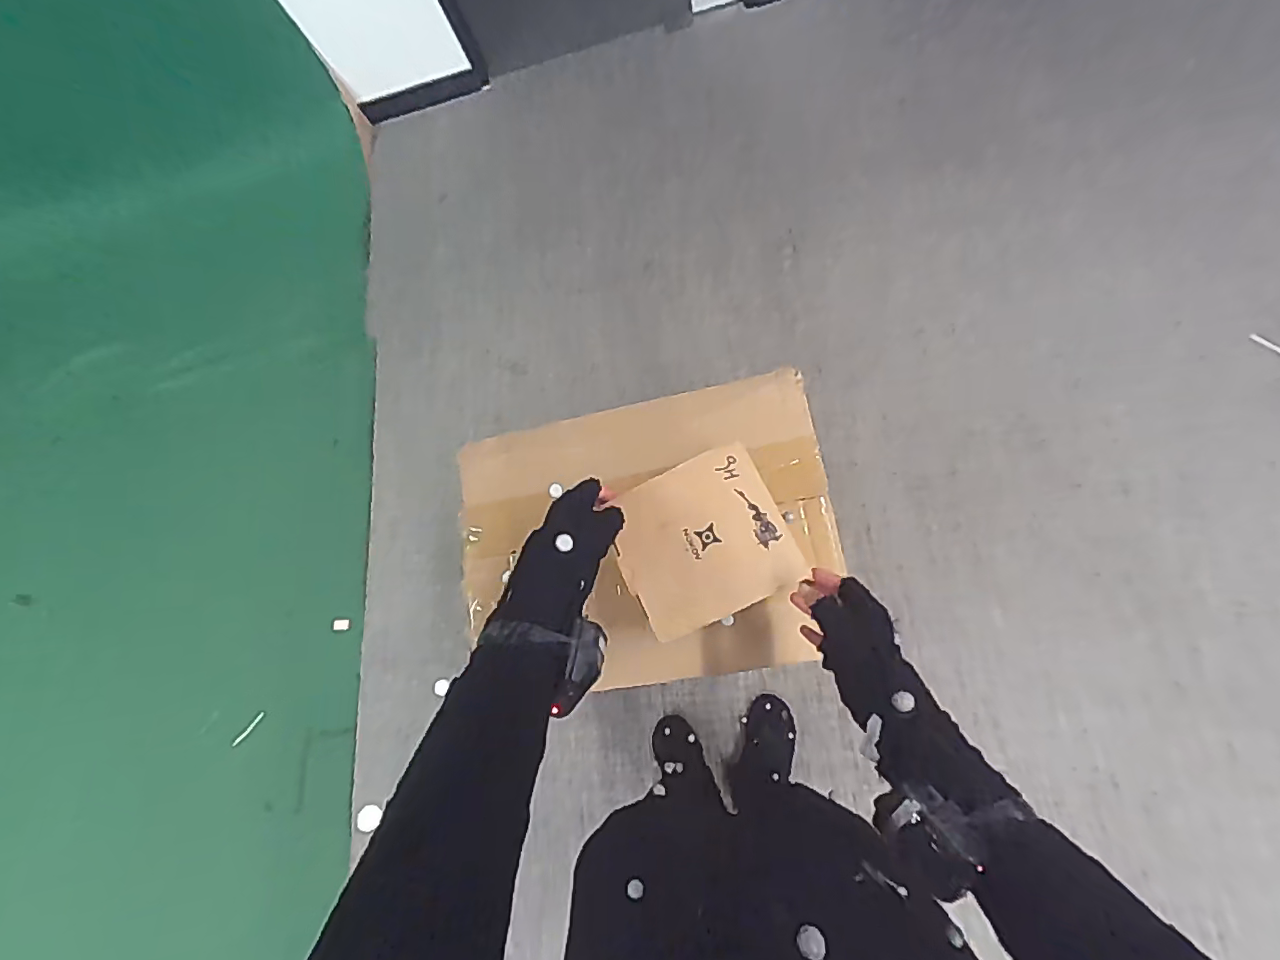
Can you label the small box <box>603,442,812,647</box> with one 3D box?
[{"bbox_3d":[0.084,0.082,0.651,0.179,0.176,0.168,-29,76,6],"label":"small box"}]
